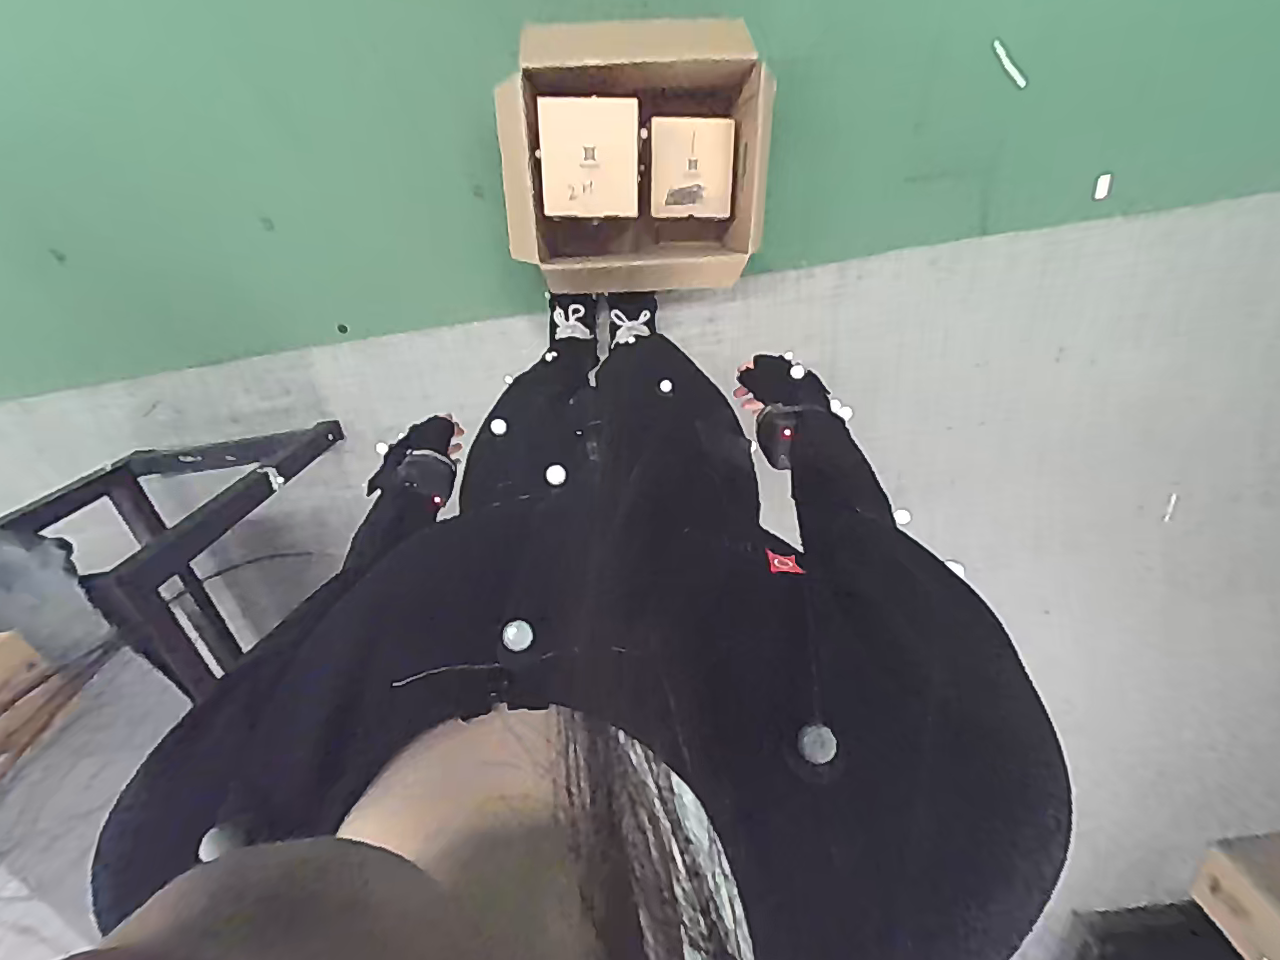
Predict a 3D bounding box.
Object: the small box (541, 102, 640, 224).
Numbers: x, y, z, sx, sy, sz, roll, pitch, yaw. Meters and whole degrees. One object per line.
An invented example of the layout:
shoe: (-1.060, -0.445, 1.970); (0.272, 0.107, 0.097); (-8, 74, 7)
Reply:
small box: (-0.085, -0.569, 0.989); (0.168, 0.176, 0.179); (1, 116, 0)
